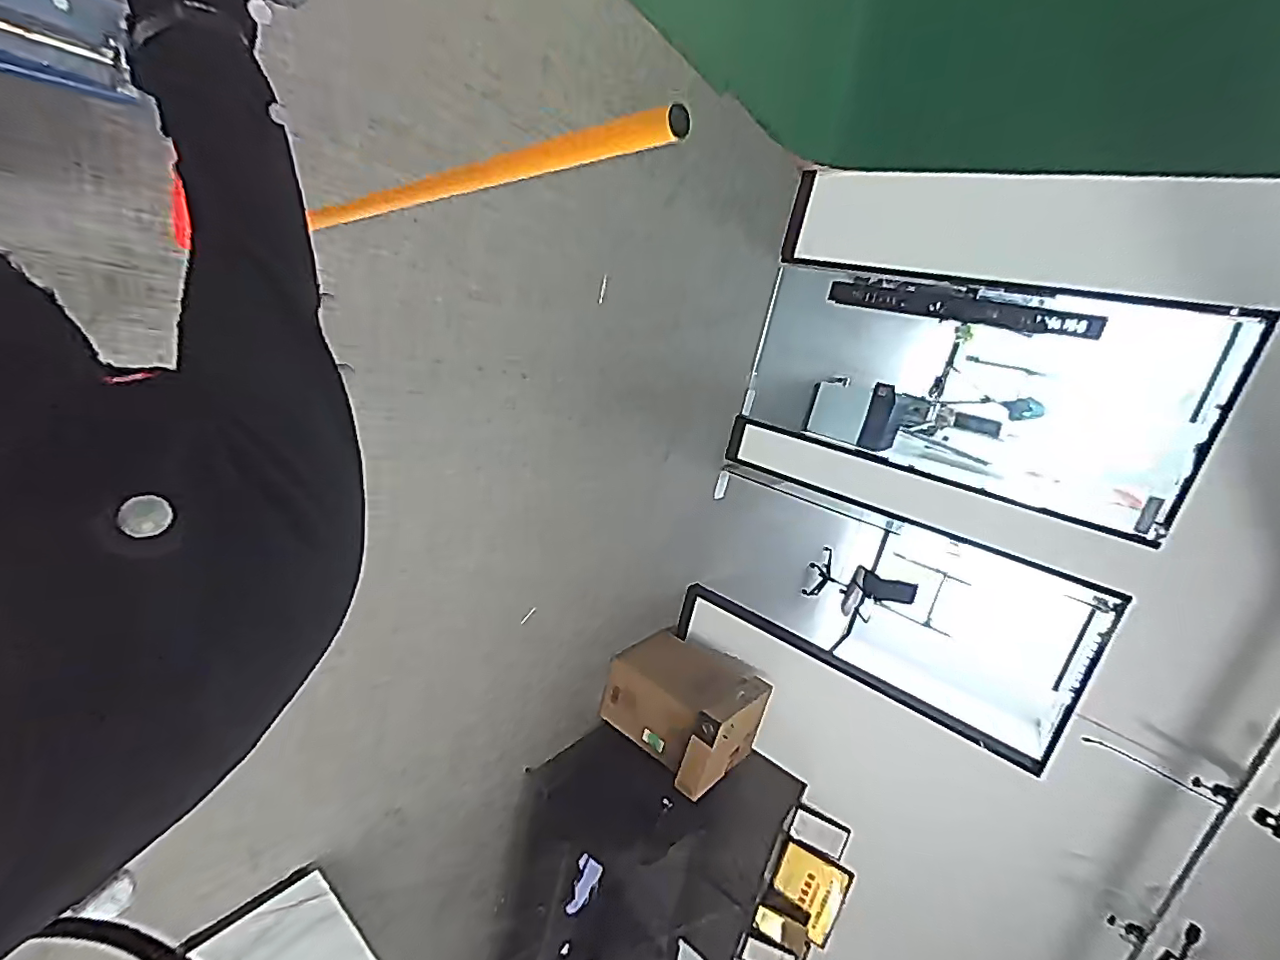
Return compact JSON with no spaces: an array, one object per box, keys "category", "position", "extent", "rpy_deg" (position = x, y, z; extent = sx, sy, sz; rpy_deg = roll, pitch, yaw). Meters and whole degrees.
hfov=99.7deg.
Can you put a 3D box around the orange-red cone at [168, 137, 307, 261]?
[{"category":"orange-red cone","position":[-0.745,-0.530,1.053],"extent":[0.199,0.360,0.198],"rpy_deg":[-5,114,-52]}]
